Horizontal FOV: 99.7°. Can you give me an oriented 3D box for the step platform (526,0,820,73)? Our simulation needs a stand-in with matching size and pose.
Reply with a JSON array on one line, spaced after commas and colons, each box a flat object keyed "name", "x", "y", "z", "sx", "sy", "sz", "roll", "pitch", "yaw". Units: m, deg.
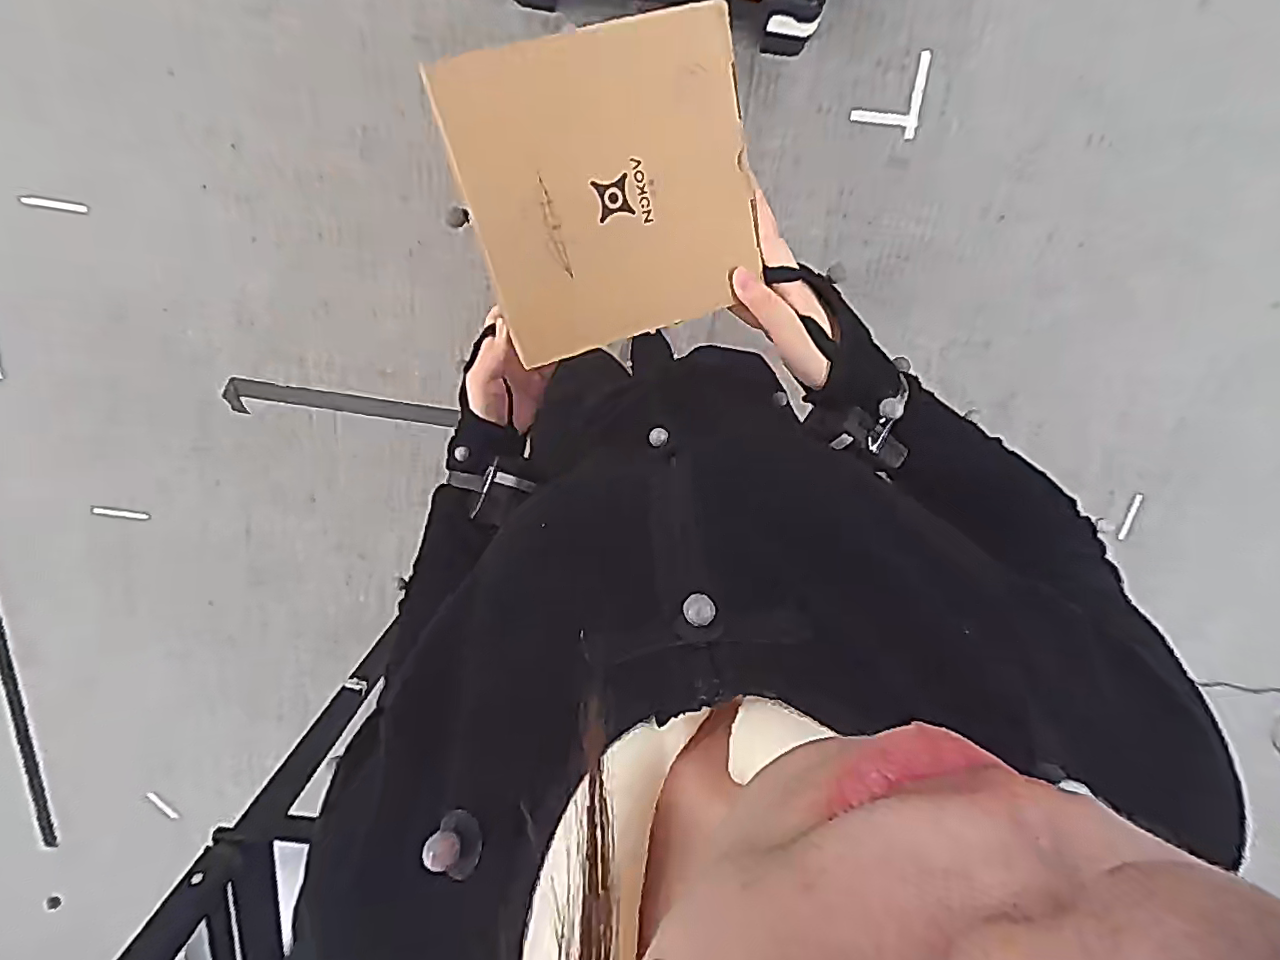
[{"name": "step platform", "x": 0.047, "y": -1.093, "z": 1.074, "sx": 0.684, "sy": 0.204, "sz": 0.286, "roll": 14, "pitch": 106, "yaw": -3}]
